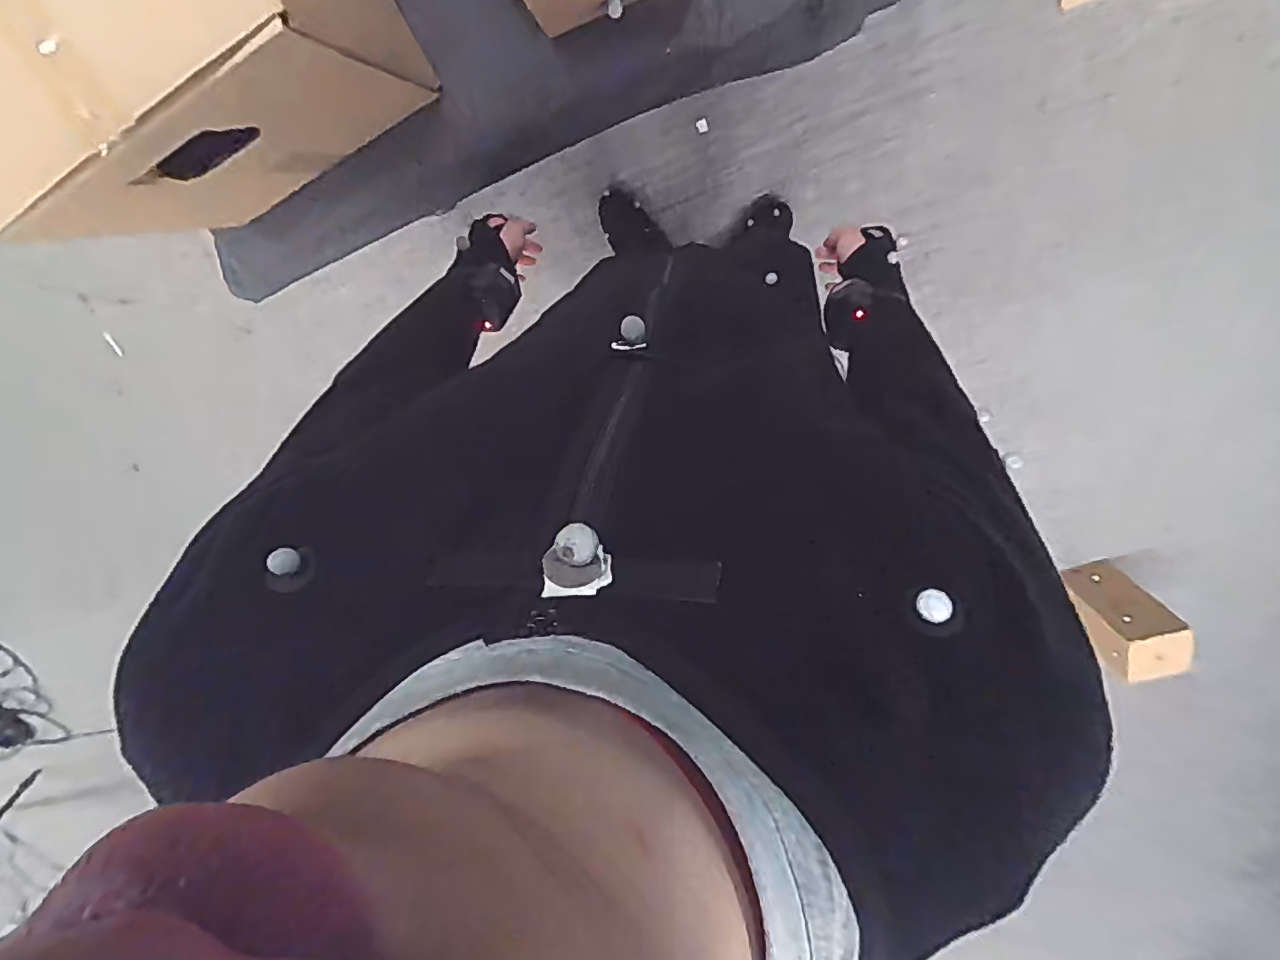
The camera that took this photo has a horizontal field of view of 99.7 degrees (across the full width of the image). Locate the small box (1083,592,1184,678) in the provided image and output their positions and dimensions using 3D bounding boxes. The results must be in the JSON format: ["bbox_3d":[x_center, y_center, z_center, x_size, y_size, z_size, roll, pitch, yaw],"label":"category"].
[{"bbox_3d":[1.502,0.467,1.657,0.168,0.176,0.179,-19,119,13],"label":"small box"}]

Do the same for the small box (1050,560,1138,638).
[{"bbox_3d":[1.505,0.388,1.800,0.168,0.176,0.179,-20,117,12],"label":"small box"}]
